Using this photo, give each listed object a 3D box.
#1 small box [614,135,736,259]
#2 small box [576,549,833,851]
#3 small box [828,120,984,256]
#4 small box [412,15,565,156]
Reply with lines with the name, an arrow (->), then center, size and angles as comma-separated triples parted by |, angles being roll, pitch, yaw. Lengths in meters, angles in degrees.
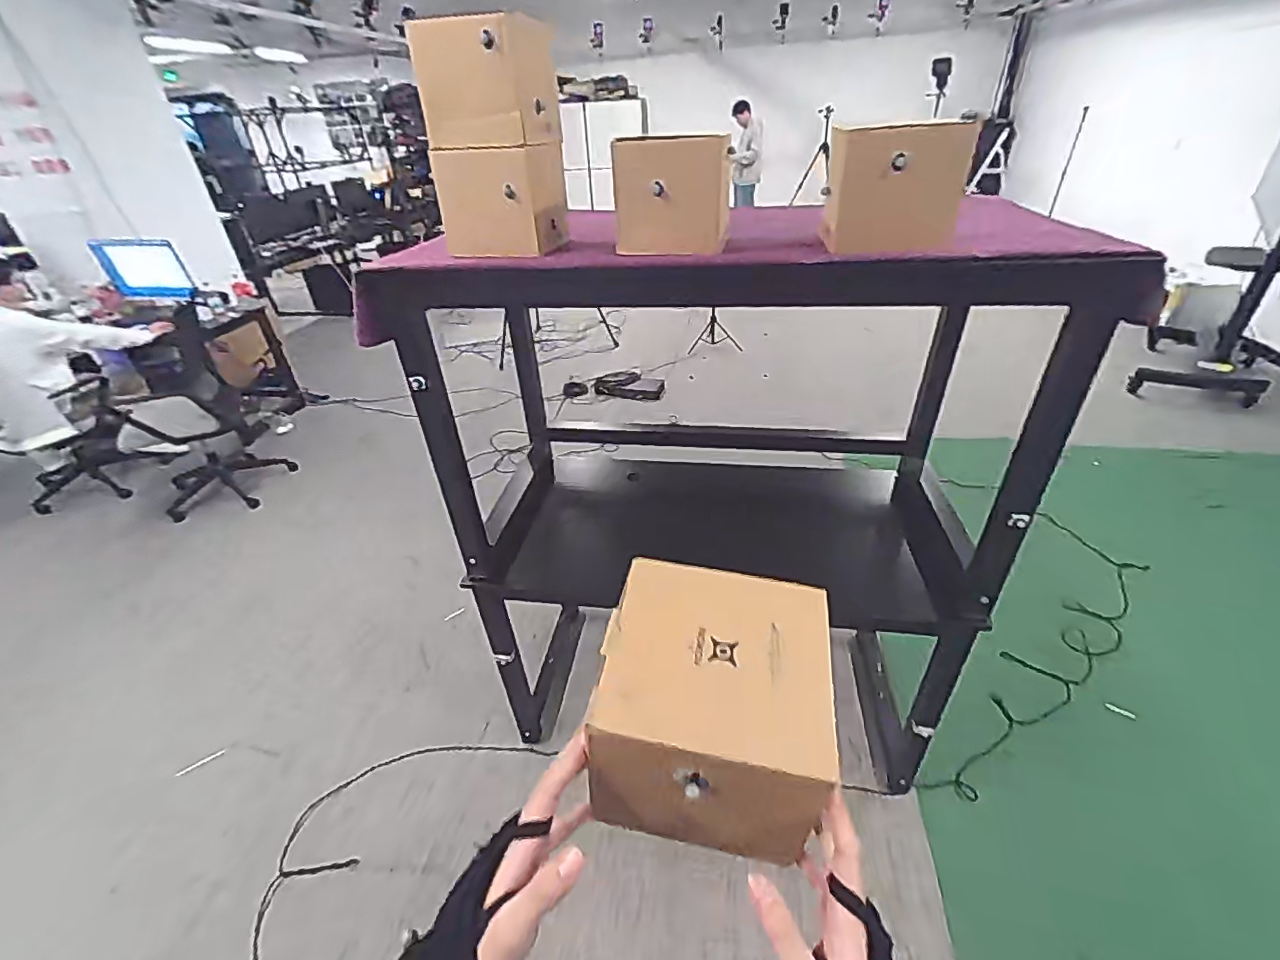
small box -> 0.067, -0.475, 0.914 | 0.179, 0.176, 0.168 | 4, 33, 13
small box -> 0.057, 0.186, 0.466 | 0.179, 0.176, 0.168 | 9, 39, 10
small box -> 0.395, -0.453, 0.842 | 0.179, 0.176, 0.168 | 2, 35, 10
small box -> -0.237, -0.637, 0.893 | 0.179, 0.176, 0.168 | 6, 34, 13
